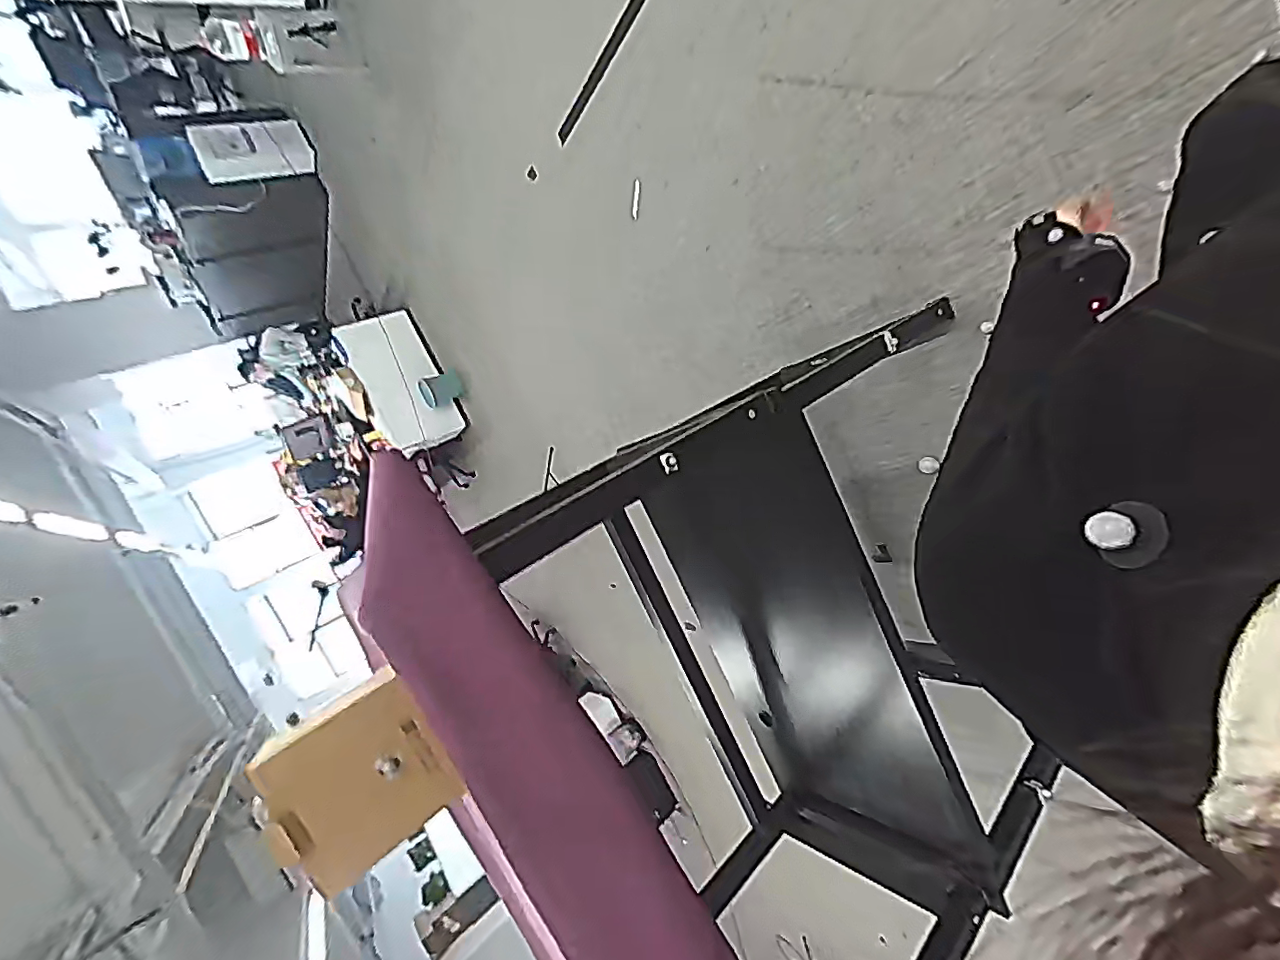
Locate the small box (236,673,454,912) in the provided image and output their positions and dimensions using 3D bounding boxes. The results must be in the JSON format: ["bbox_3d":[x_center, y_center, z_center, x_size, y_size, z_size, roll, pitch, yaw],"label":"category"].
[{"bbox_3d":[-0.351,0.360,0.667,0.168,0.176,0.179,60,149,-2],"label":"small box"}]
